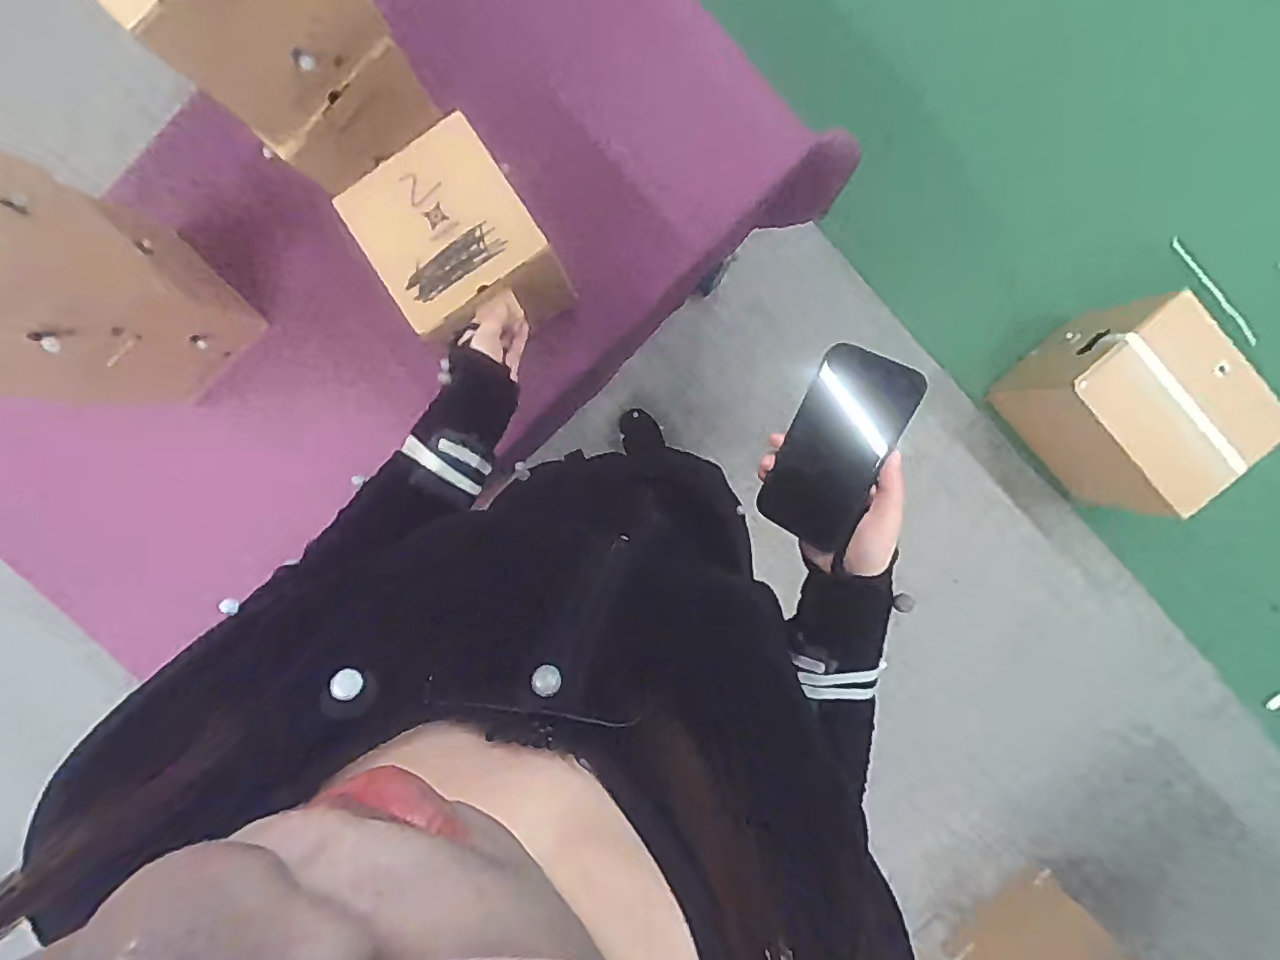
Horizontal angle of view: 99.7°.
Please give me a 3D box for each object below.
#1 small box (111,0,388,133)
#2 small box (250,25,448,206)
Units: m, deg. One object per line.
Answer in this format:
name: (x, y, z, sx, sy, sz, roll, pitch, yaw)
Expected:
small box: (-0.363, -0.453, 0.462, 0.168, 0.176, 0.179, -43, 95, 5)
small box: (-0.363, -0.462, 0.627, 0.179, 0.176, 0.168, 44, 95, -5)
